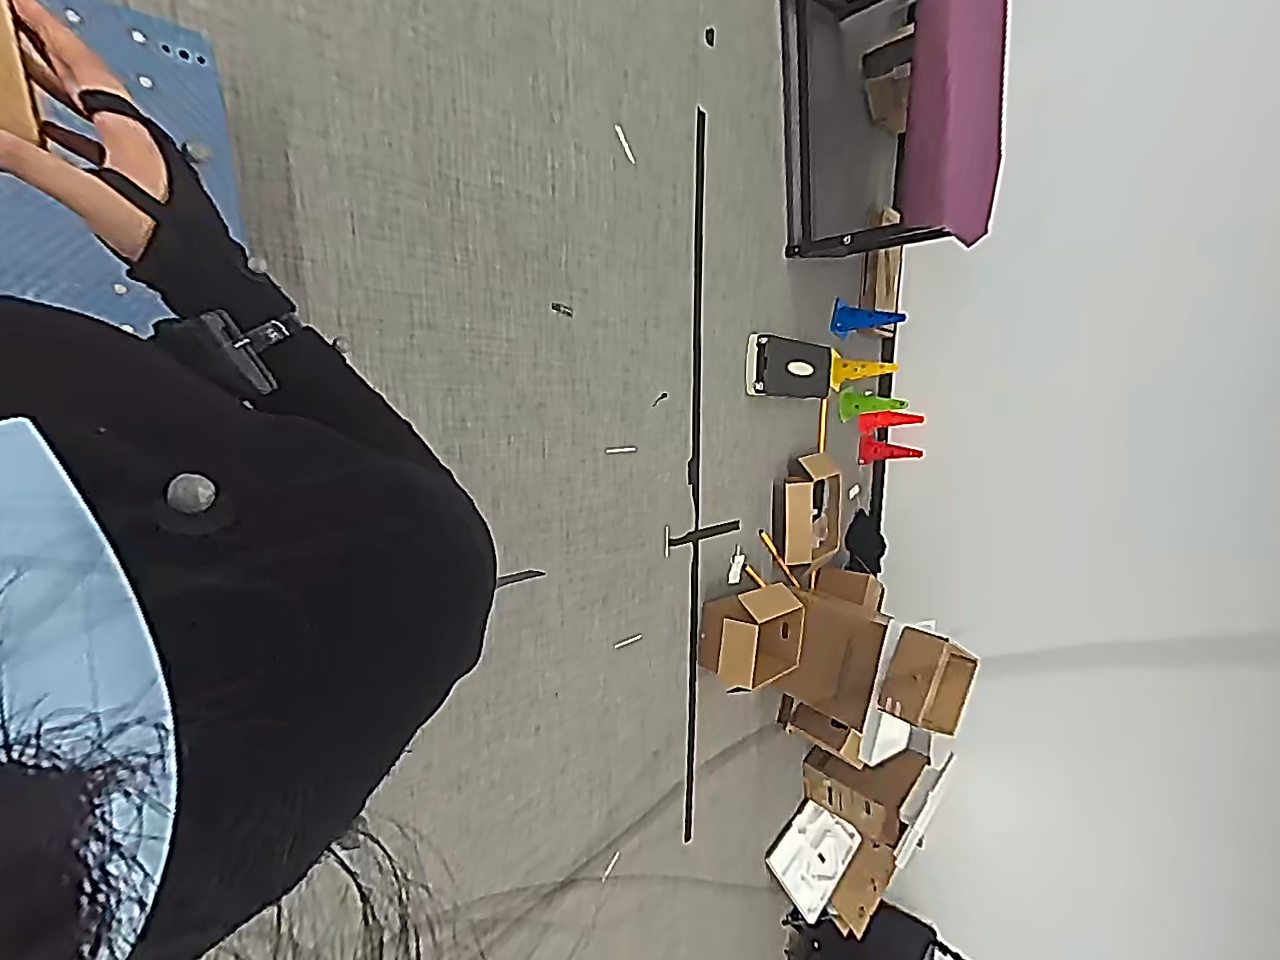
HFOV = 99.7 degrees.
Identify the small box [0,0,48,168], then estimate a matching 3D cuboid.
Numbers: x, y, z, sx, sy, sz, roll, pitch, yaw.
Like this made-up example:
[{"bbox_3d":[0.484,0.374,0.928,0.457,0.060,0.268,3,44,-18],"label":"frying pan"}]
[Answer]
[{"bbox_3d":[-0.448,-0.283,0.282,0.168,0.176,0.179,-11,116,-44],"label":"small box"}]
